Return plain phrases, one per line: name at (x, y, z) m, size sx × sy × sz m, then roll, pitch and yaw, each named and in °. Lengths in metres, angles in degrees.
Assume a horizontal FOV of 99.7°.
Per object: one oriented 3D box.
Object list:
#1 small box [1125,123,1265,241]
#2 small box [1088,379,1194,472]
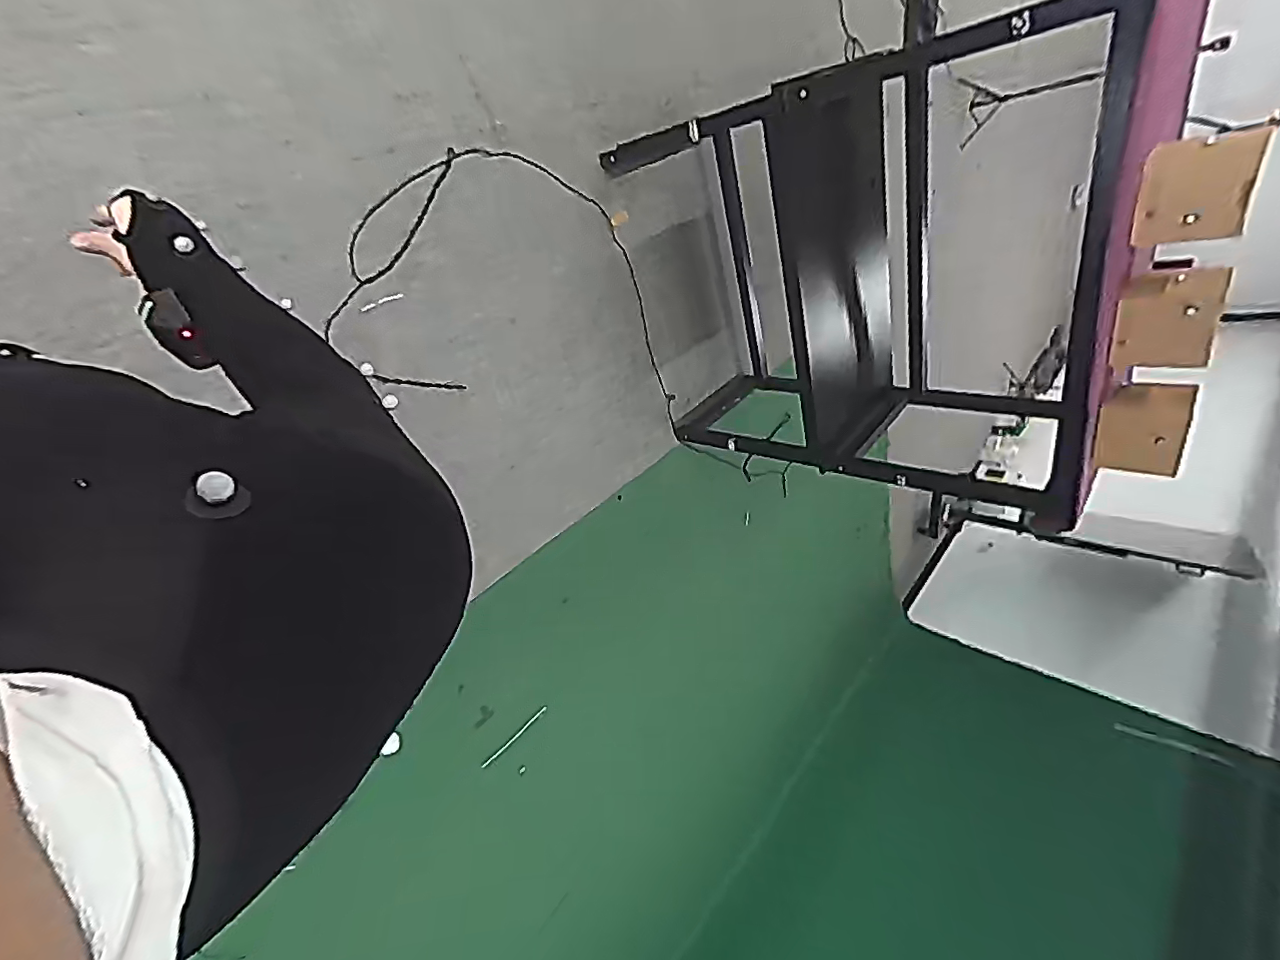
small box at (1.113, -0.597, 1.094) m, size 0.179 × 0.176 × 0.168 m, roll -38°, pitch 127°, yaw -33°
small box at (1.265, -0.145, 1.373) m, size 0.168 × 0.176 × 0.179 m, roll -39°, pitch 126°, yaw -32°
